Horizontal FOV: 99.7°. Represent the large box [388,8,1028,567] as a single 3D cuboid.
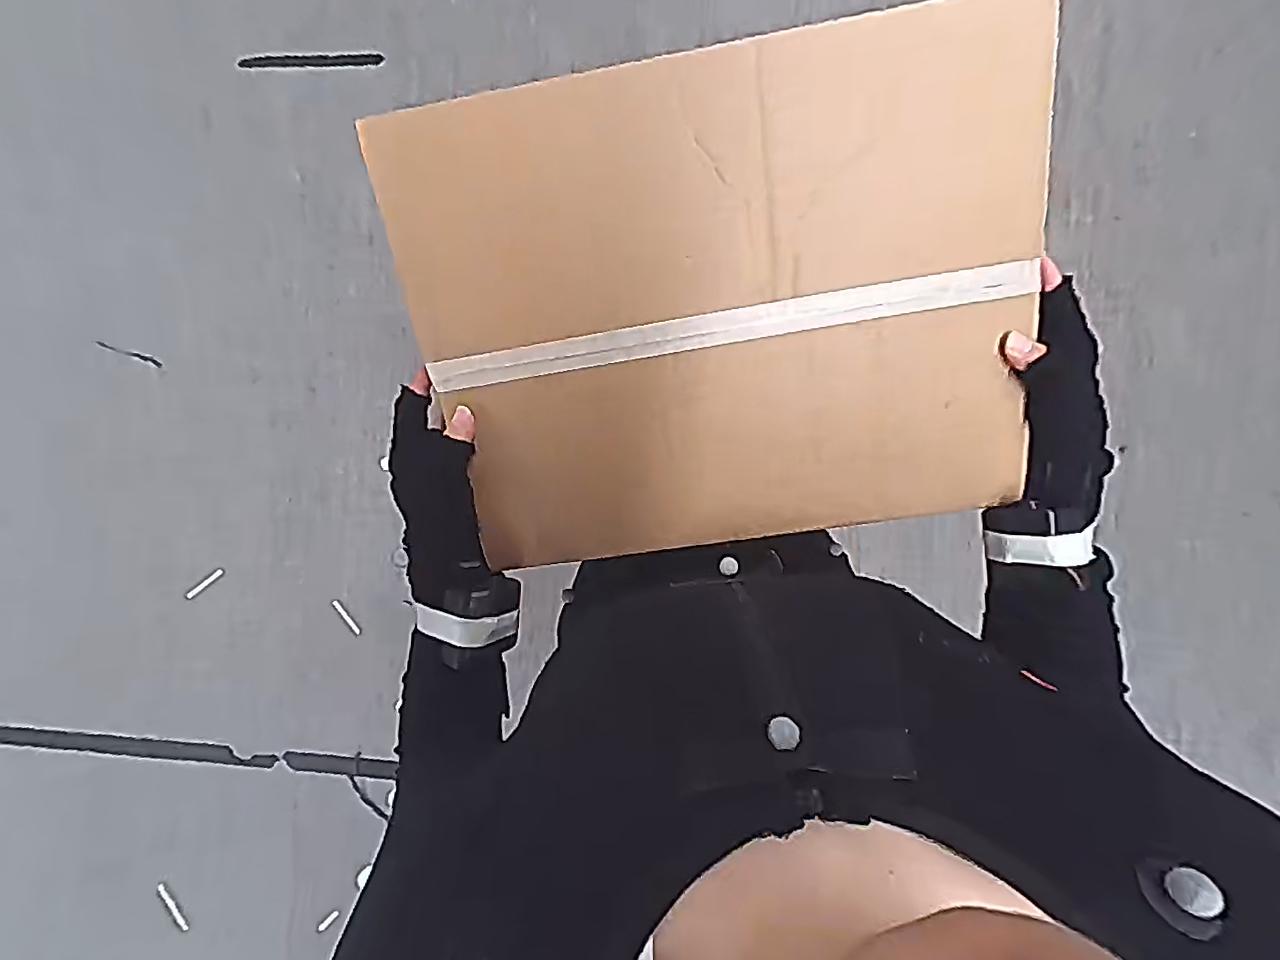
[{"bbox_3d":[0.059,-0.150,0.517,0.408,0.320,0.320,-9,110,5],"label":"large box"}]
